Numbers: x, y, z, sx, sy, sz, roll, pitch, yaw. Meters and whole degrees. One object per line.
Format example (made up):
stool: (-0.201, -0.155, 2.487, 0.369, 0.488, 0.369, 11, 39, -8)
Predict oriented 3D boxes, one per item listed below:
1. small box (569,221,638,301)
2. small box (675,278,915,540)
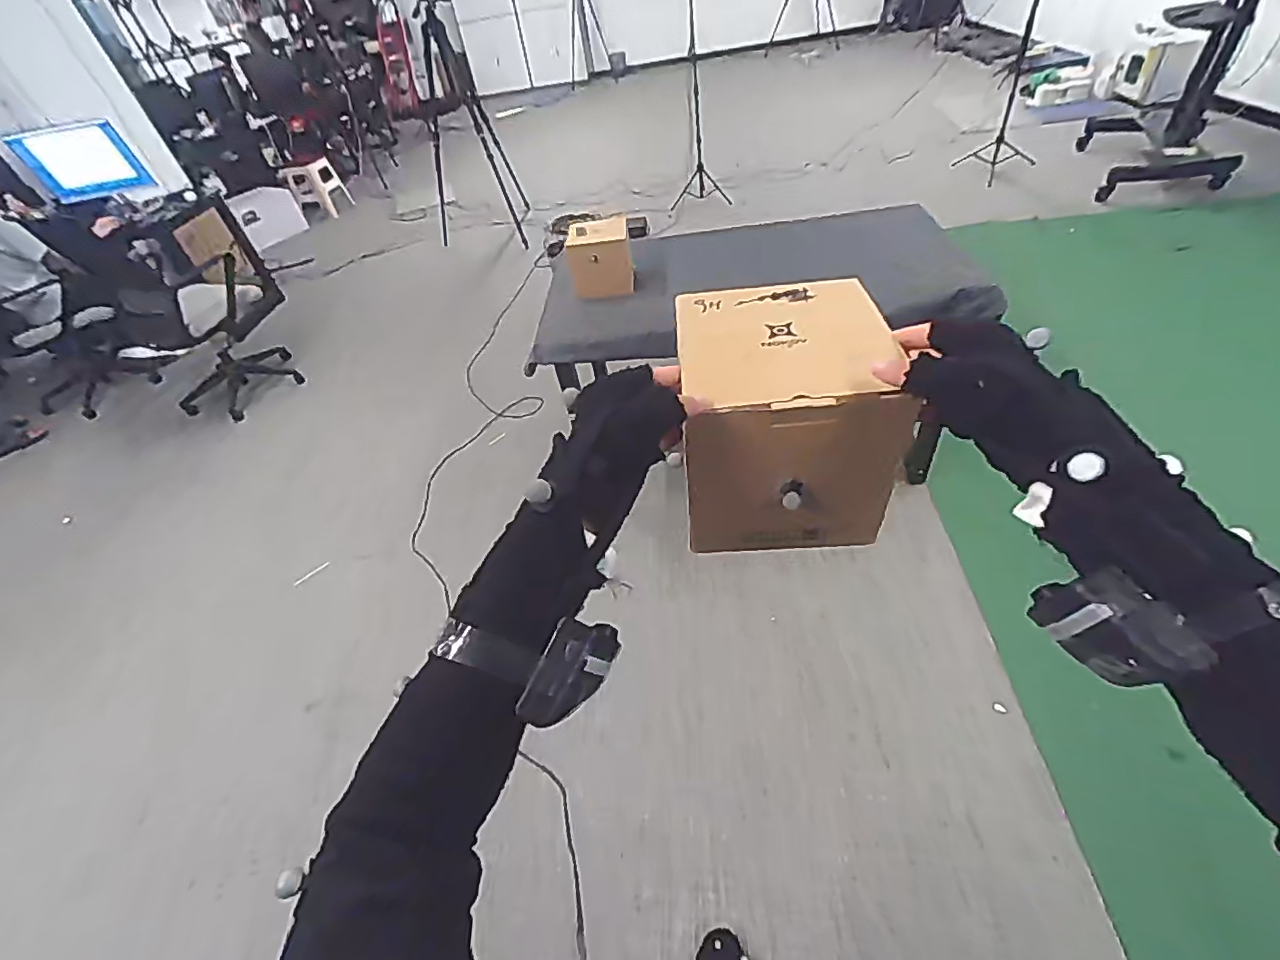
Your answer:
small box: (-0.105, -0.656, 1.629, 0.179, 0.176, 0.168, -5, 45, 5)
small box: (0.121, -0.057, 0.492, 0.168, 0.176, 0.179, -4, 46, 5)
